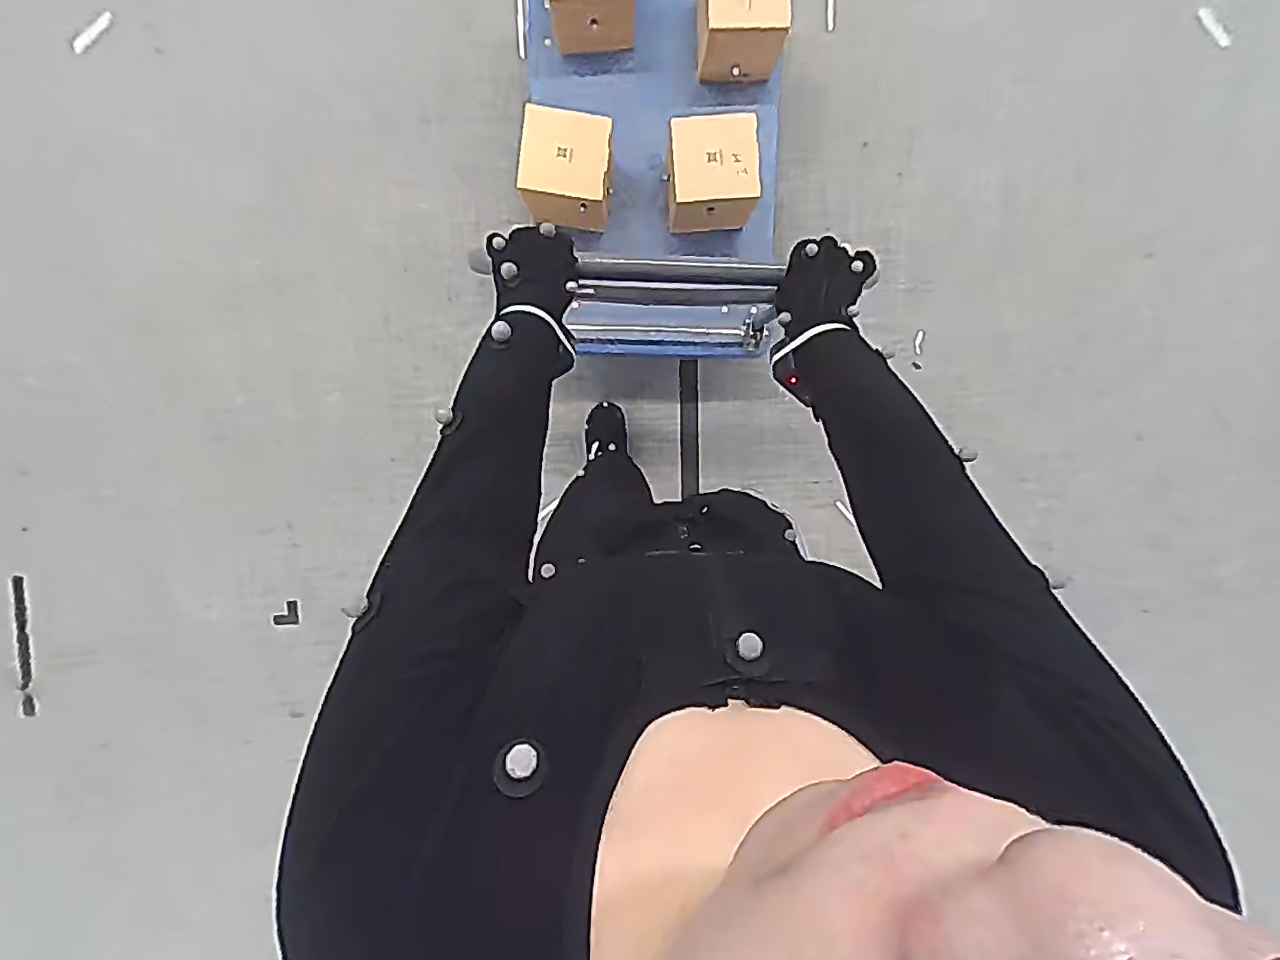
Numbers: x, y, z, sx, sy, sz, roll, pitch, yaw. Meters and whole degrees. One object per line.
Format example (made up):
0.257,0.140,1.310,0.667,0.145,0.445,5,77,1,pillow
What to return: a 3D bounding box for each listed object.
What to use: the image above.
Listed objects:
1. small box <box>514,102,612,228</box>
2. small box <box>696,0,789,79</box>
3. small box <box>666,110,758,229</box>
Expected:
-0.158,-0.661,1.154,0.179,0.176,0.168,8,94,-3,small box
0.208,-0.988,1.133,0.168,0.176,0.179,-2,96,-1,small box
0.147,-0.656,1.160,0.179,0.176,0.168,-4,95,-1,small box
